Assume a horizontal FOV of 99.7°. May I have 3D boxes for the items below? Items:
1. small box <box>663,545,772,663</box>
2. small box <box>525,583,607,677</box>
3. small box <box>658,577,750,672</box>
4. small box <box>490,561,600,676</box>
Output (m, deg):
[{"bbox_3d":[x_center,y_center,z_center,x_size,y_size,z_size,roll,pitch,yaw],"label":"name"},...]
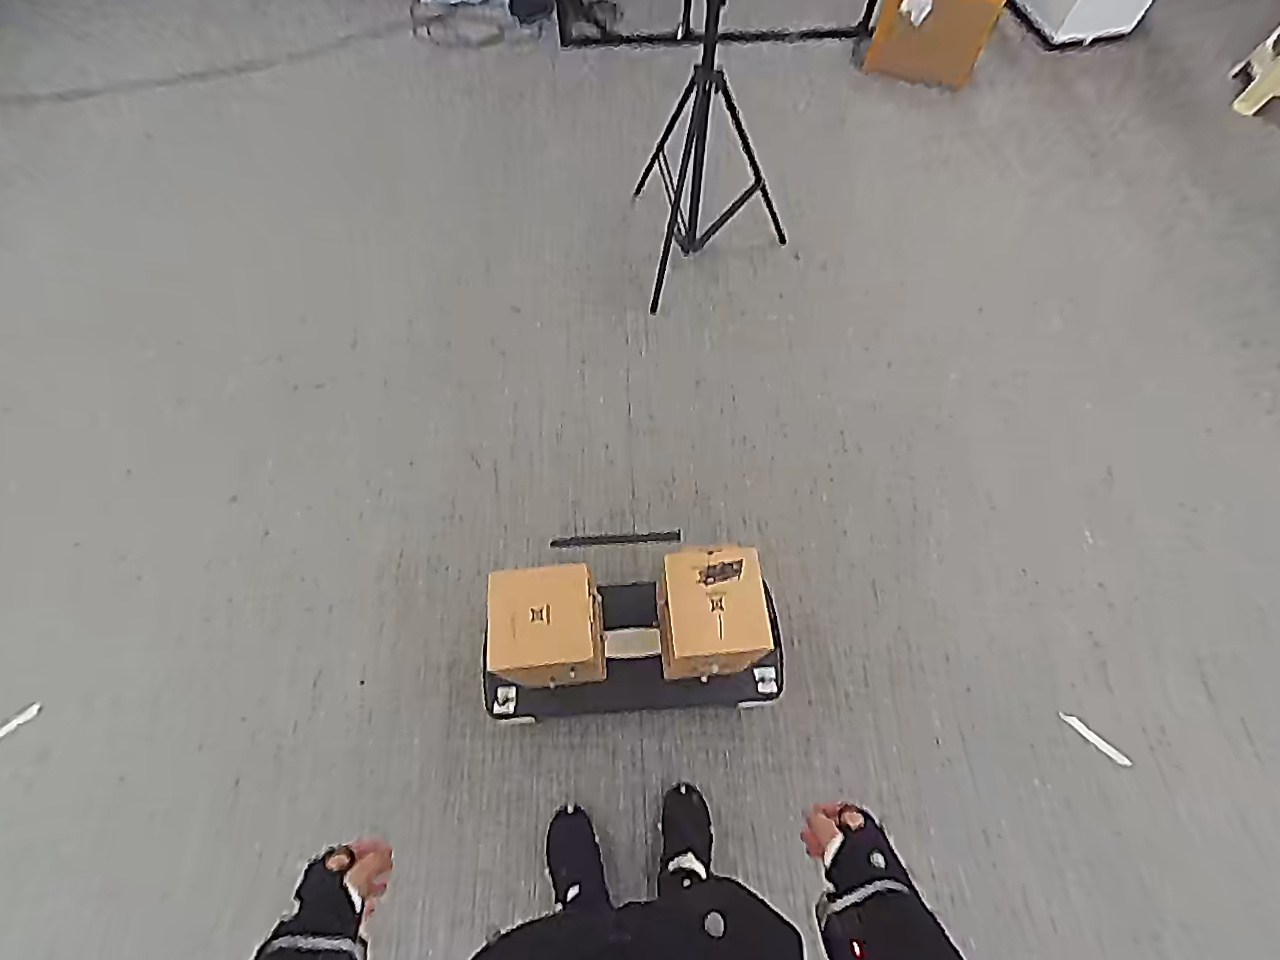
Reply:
[{"bbox_3d":[0.131,0.232,0.994,0.168,0.176,0.179,-5,66,-1],"label":"small box"},{"bbox_3d":[-0.165,0.325,1.136,0.179,0.176,0.168,-6,65,-2],"label":"small box"},{"bbox_3d":[0.125,0.304,1.142,0.168,0.176,0.179,-5,66,-1],"label":"small box"},{"bbox_3d":[-0.166,0.257,0.986,0.179,0.176,0.168,-6,64,-2],"label":"small box"}]
